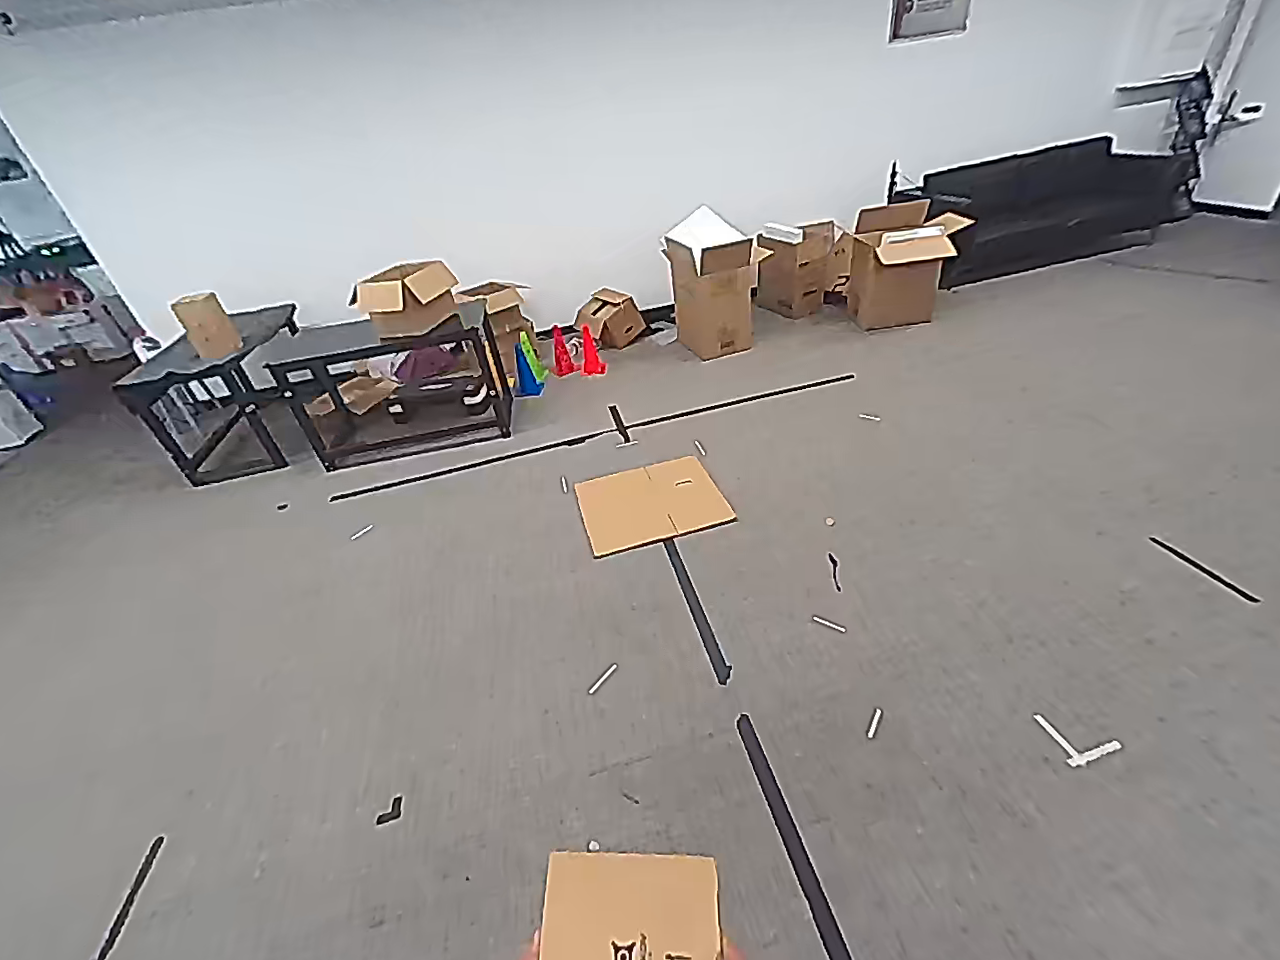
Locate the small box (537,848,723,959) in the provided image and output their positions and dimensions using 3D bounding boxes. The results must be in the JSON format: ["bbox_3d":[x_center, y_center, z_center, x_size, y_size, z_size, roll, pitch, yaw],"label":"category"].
[{"bbox_3d":[-0.015,0.498,0.559,0.179,0.176,0.168,4,46,-3],"label":"small box"}]
